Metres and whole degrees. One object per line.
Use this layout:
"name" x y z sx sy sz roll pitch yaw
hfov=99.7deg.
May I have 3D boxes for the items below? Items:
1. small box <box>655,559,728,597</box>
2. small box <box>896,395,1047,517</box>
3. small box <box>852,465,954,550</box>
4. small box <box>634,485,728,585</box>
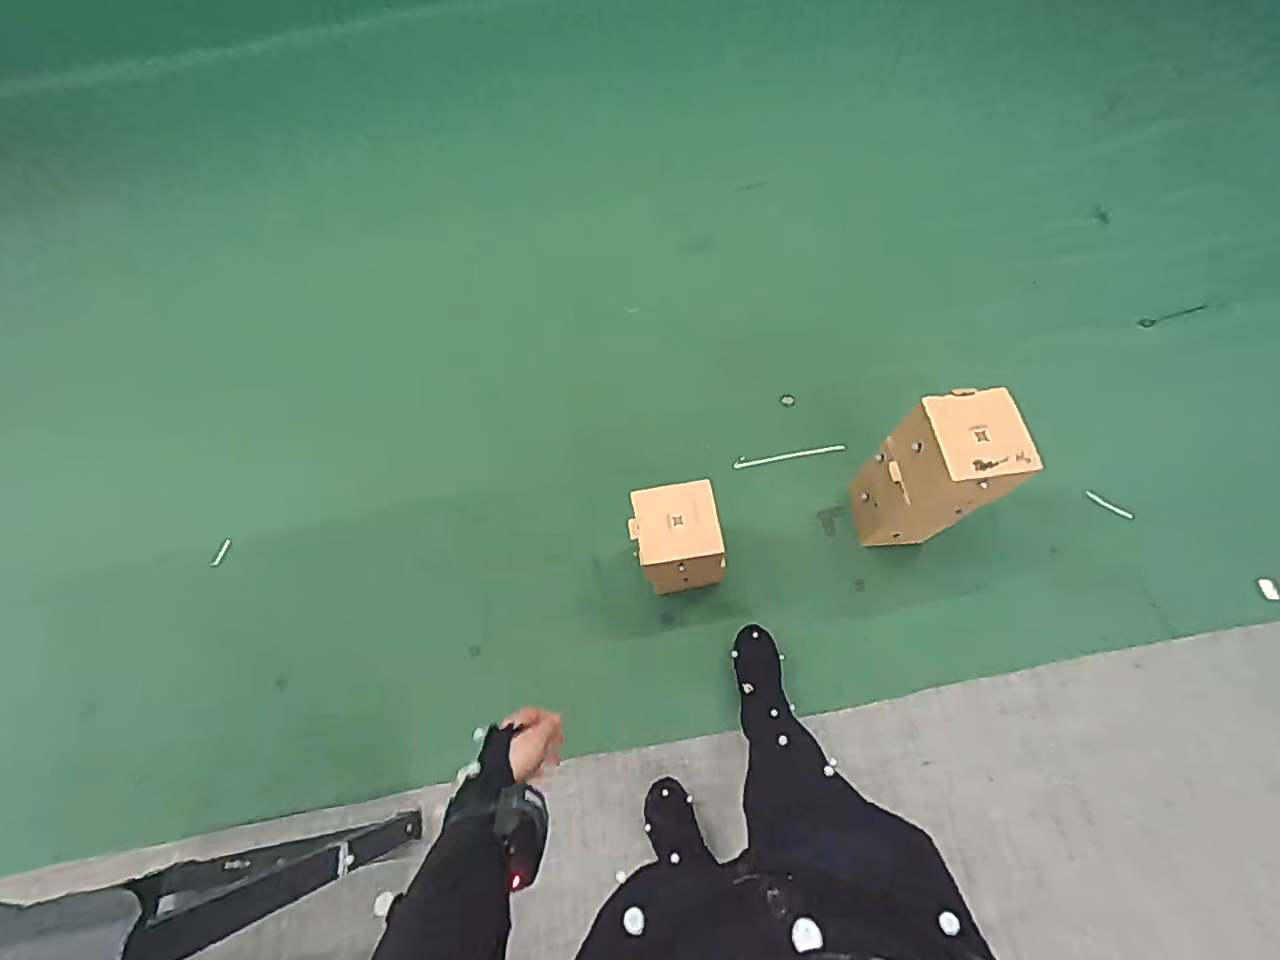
"small box" 0.111 0.186 1.349 0.179 0.176 0.168 -11 68 -1
"small box" 0.630 -0.043 1.058 0.168 0.176 0.179 -7 66 -1
"small box" 0.653 0.074 1.365 0.168 0.176 0.179 -4 67 2
"small box" 0.089 0.127 1.198 0.179 0.176 0.168 -9 68 -1
